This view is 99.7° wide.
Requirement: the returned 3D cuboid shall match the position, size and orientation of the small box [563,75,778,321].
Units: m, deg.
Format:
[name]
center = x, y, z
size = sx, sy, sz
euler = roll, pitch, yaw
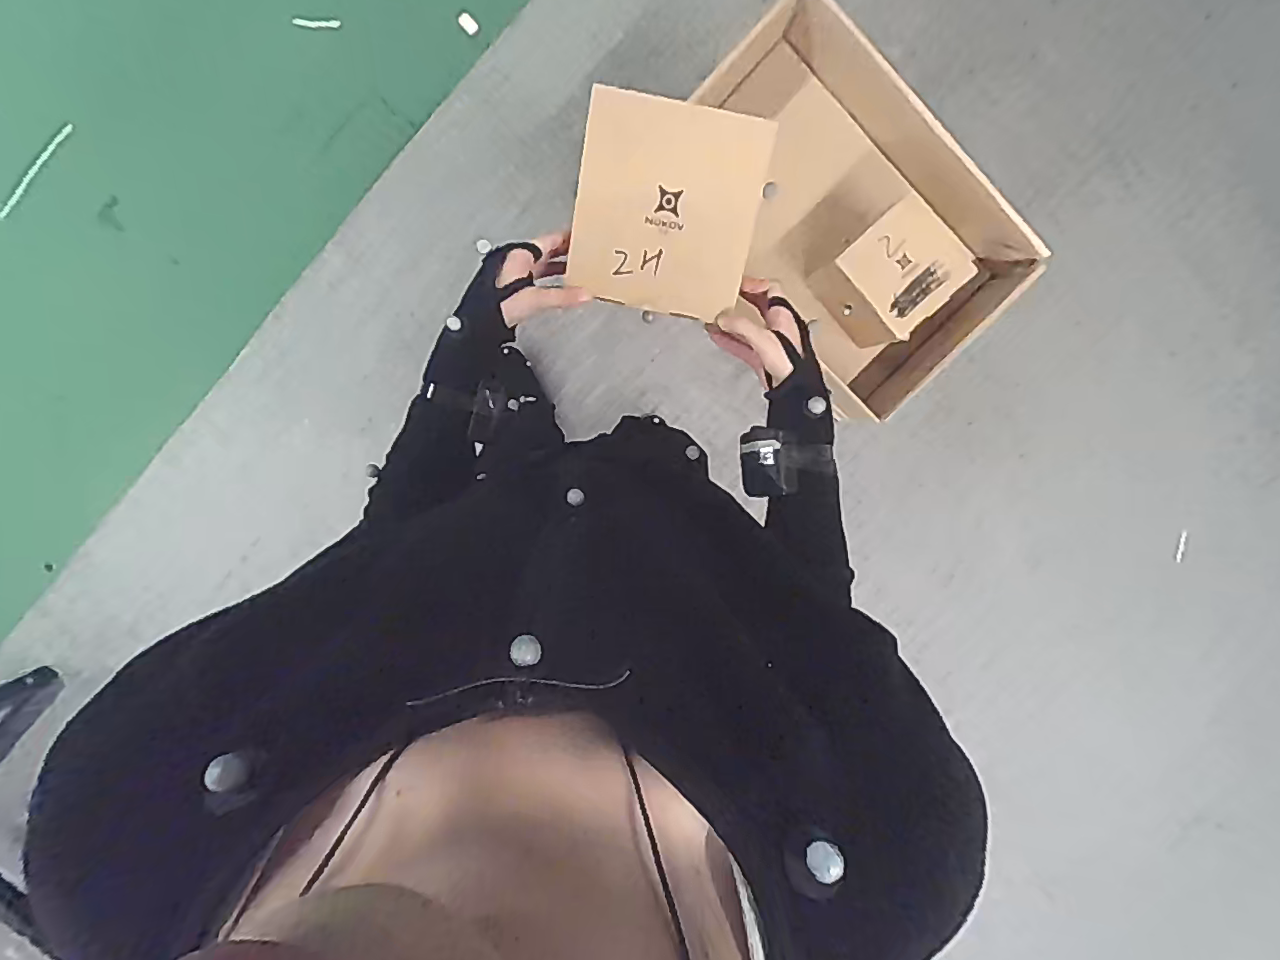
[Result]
[small box]
center = 0.027, -0.272, 0.561
size = 0.168, 0.176, 0.179
euler = 12, 109, 0
